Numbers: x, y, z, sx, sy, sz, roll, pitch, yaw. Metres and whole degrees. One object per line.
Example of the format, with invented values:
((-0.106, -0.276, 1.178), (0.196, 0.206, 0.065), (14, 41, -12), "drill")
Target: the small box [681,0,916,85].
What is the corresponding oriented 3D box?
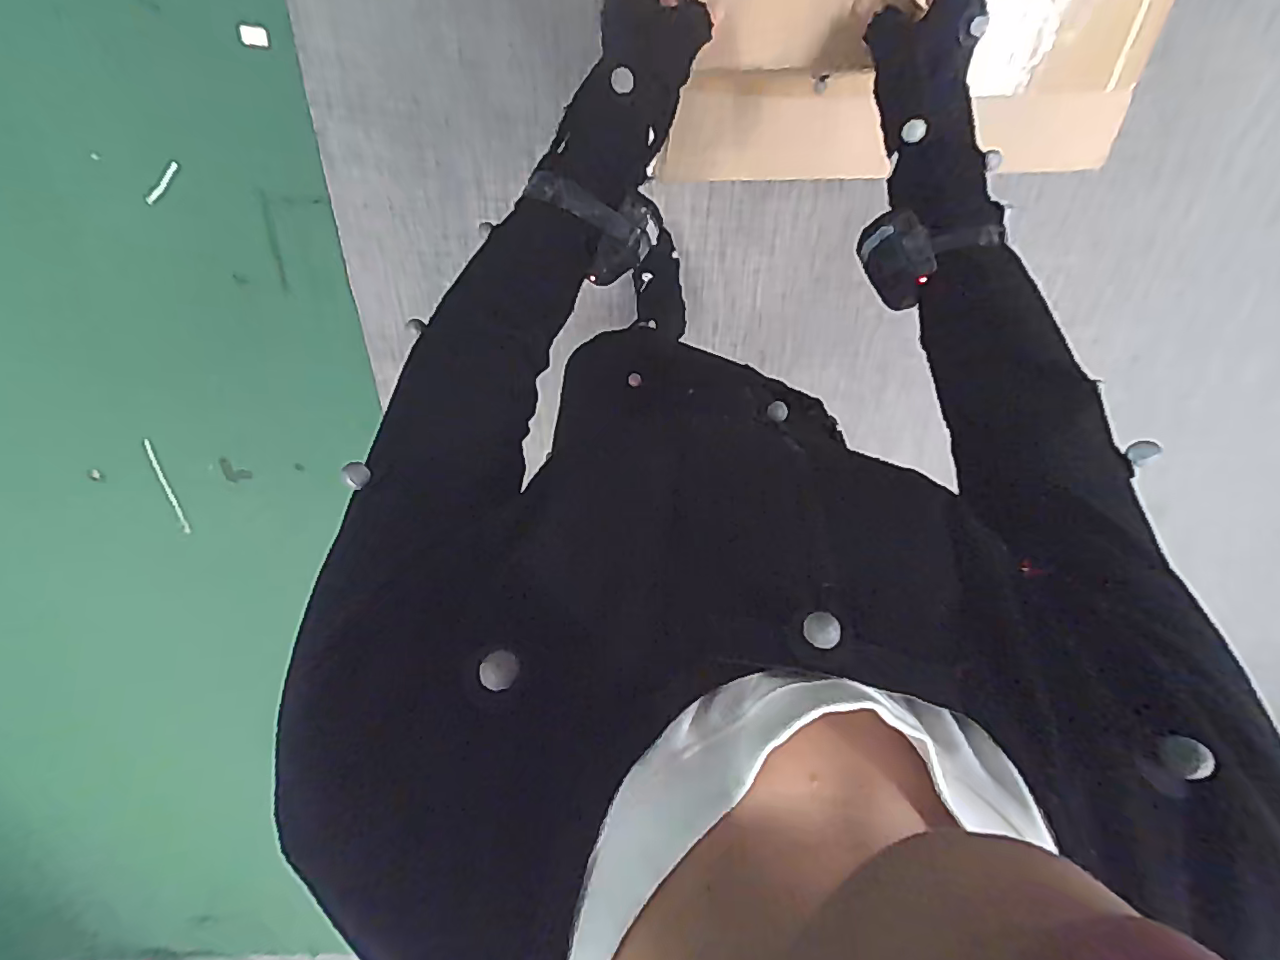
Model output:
((0.130, -0.454, 0.473), (0.179, 0.176, 0.168), (-1, 124, 1), "small box")
